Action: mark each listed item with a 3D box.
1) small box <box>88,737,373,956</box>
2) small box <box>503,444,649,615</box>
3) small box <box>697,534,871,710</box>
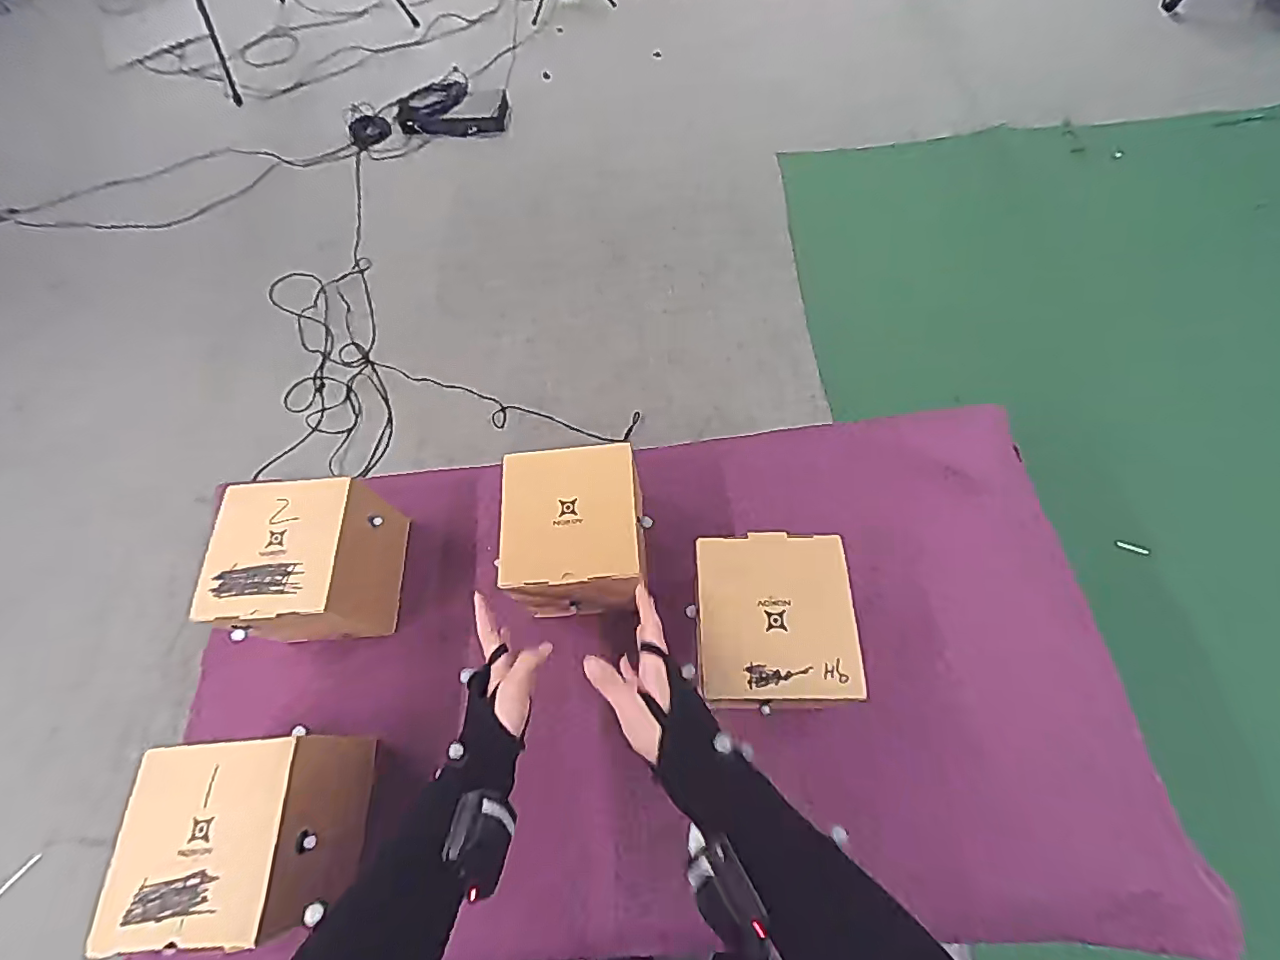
[{"bbox_3d":[-0.422,0.384,0.597,0.168,0.176,0.179,-5,63,2],"label":"small box"},{"bbox_3d":[-0.077,0.072,0.724,0.168,0.176,0.179,-5,65,2],"label":"small box"},{"bbox_3d":[0.156,0.176,0.652,0.168,0.176,0.179,-1,64,4],"label":"small box"}]
